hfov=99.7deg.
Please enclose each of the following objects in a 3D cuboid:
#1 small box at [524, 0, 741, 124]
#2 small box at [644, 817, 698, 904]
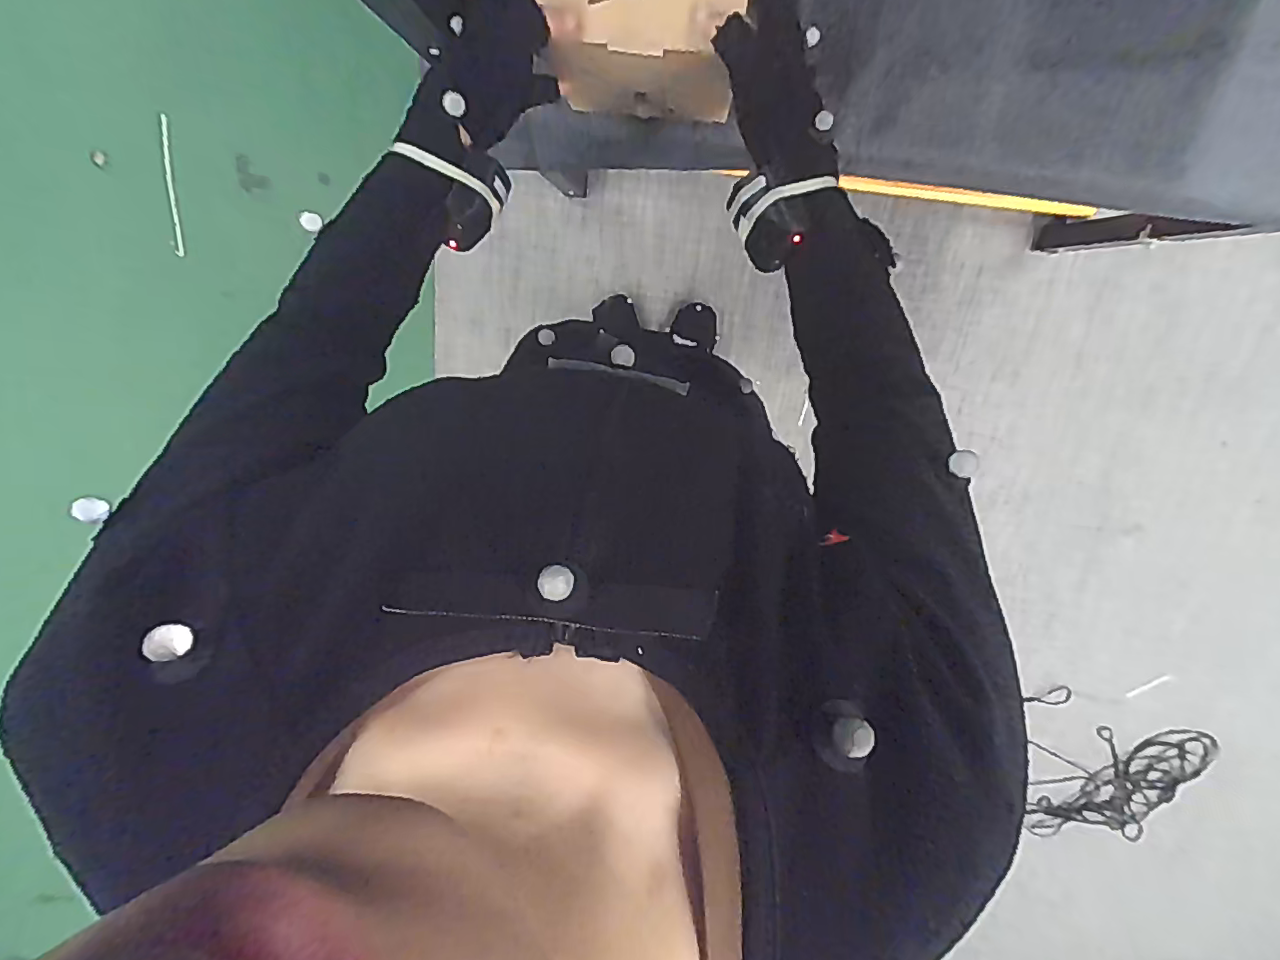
[{"bbox_3d":[0.005,-0.439,0.465,0.168,0.176,0.179,7,109,3],"label":"small box"},{"bbox_3d":[0.105,1.300,1.852,0.168,0.176,0.179,4,108,1],"label":"small box"}]
